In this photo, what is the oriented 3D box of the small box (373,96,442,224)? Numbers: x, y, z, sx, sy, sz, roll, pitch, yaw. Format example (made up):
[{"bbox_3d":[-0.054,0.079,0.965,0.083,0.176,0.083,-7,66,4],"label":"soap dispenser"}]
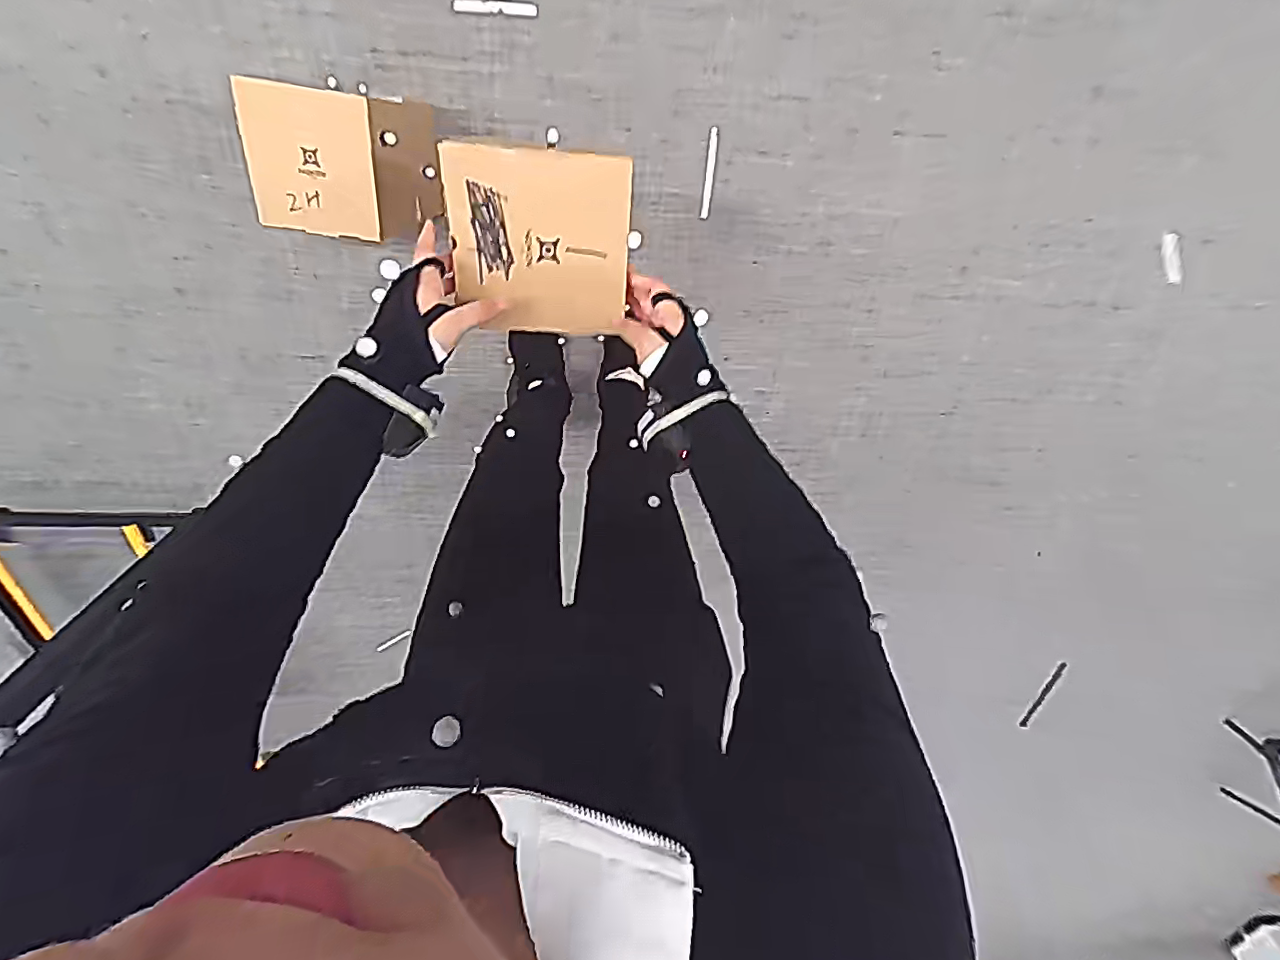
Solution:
[{"bbox_3d":[-0.450,-0.550,0.924,0.168,0.176,0.179,1,123,-4],"label":"small box"}]

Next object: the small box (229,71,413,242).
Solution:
[{"bbox_3d":[-0.441,-0.463,0.783,0.168,0.176,0.179,6,122,-6],"label":"small box"}]
